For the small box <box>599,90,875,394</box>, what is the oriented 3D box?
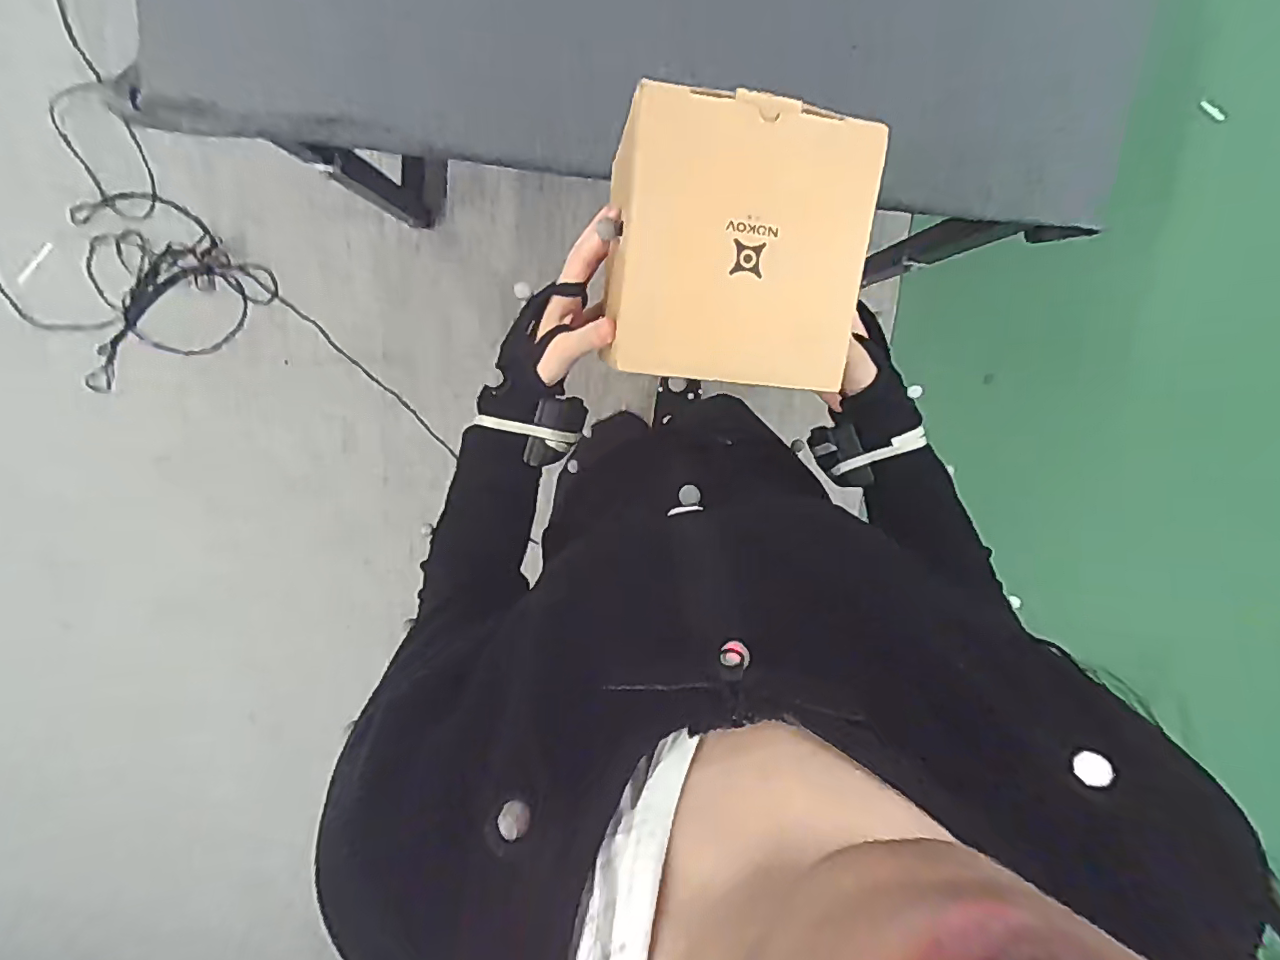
[{"bbox_3d":[0.057,-0.171,0.440,0.168,0.176,0.179,3,103,-9],"label":"small box"}]
